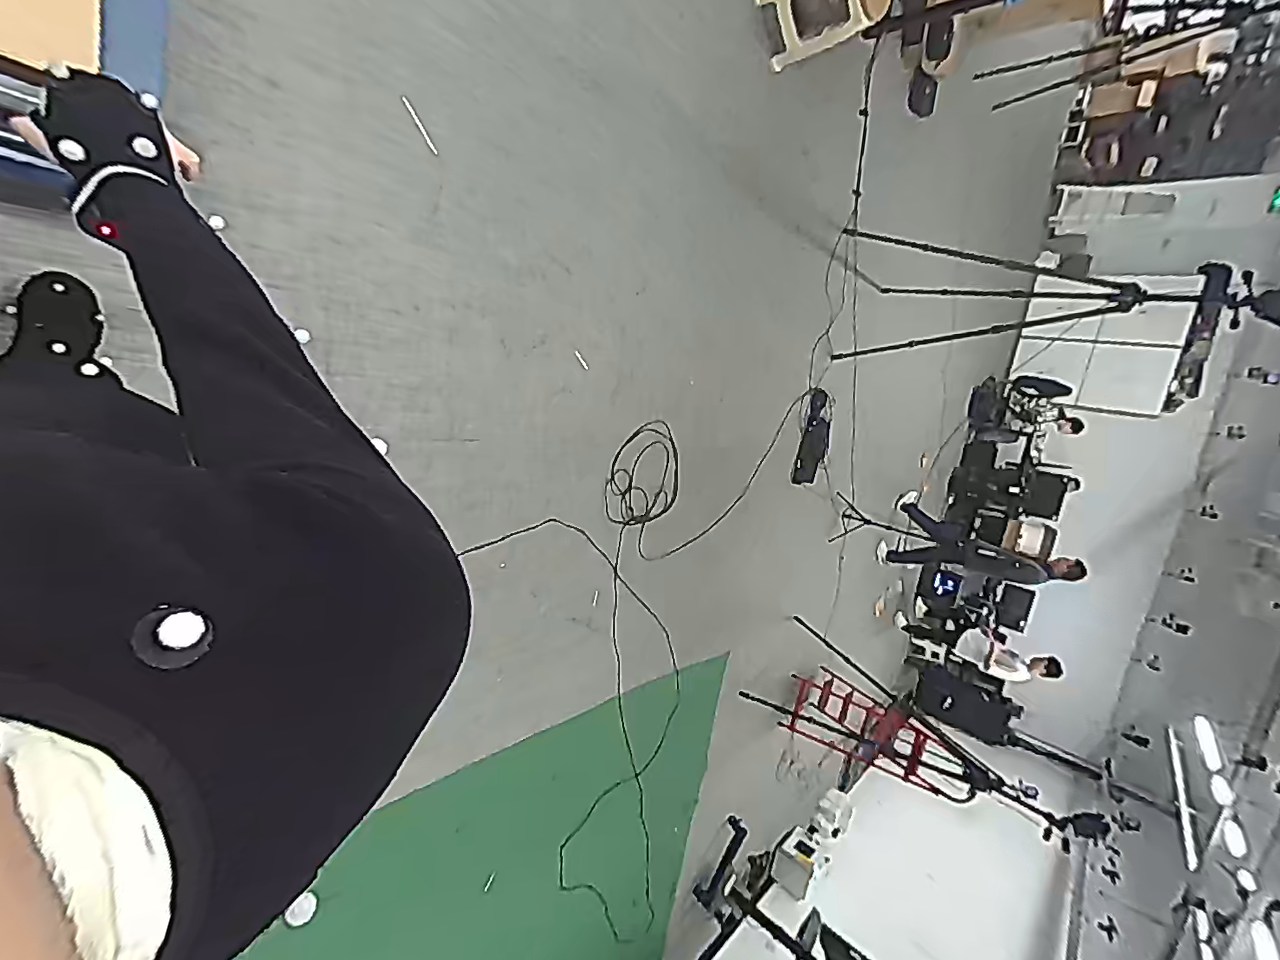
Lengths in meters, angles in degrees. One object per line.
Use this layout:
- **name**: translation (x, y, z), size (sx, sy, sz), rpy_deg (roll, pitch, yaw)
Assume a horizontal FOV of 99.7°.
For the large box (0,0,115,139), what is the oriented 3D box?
- **large box**: translation (-0.917, -0.748, 0.706), size (0.320, 0.320, 0.408), rpy_deg (-1, 103, -48)
